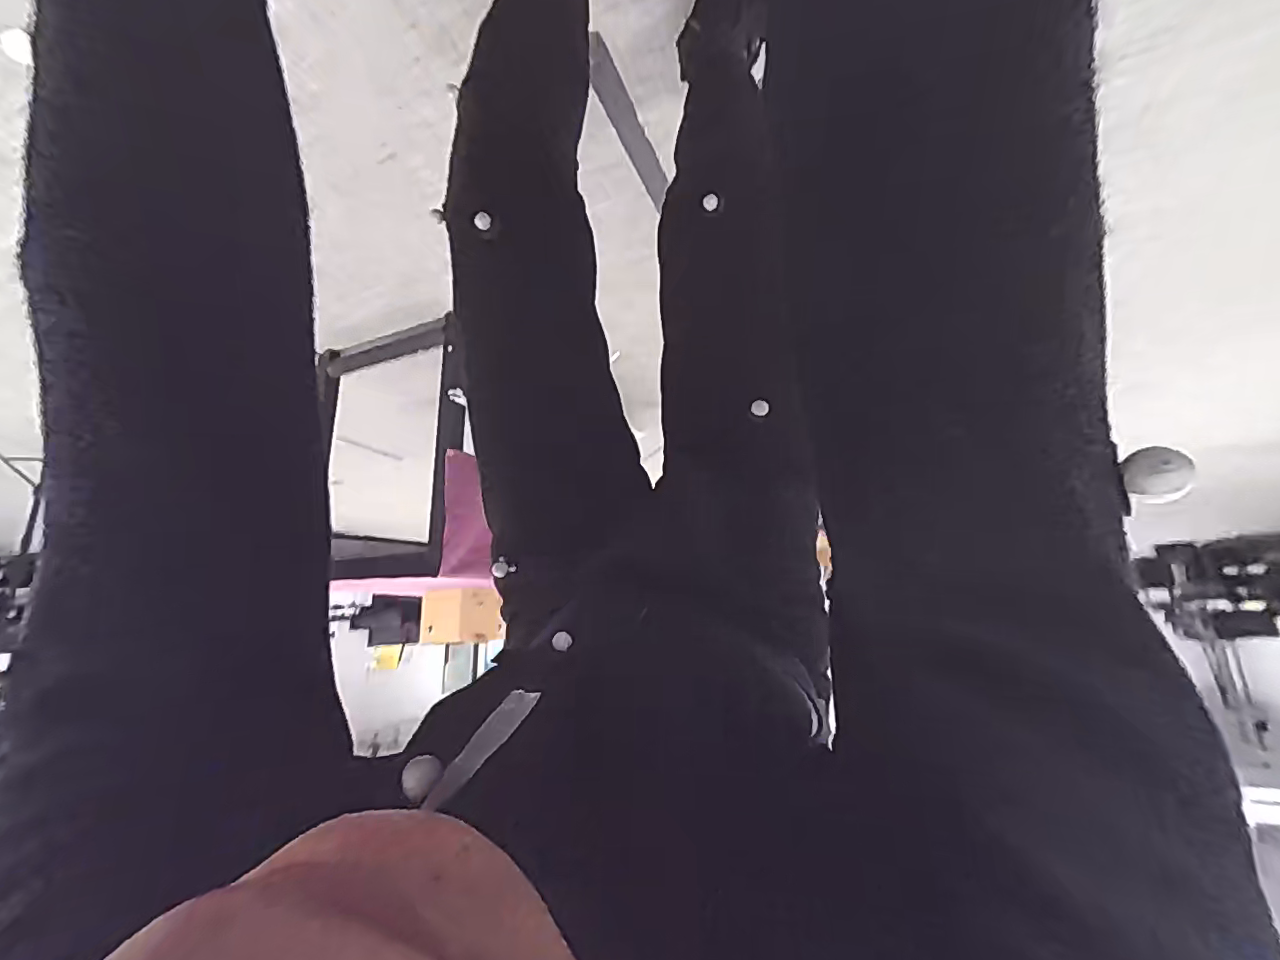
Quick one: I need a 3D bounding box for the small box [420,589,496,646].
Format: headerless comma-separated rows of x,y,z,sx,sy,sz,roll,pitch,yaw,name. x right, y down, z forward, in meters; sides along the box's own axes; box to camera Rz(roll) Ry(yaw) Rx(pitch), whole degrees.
-0.585,0.449,1.756,0.179,0.176,0.168,-10,163,27,small box
